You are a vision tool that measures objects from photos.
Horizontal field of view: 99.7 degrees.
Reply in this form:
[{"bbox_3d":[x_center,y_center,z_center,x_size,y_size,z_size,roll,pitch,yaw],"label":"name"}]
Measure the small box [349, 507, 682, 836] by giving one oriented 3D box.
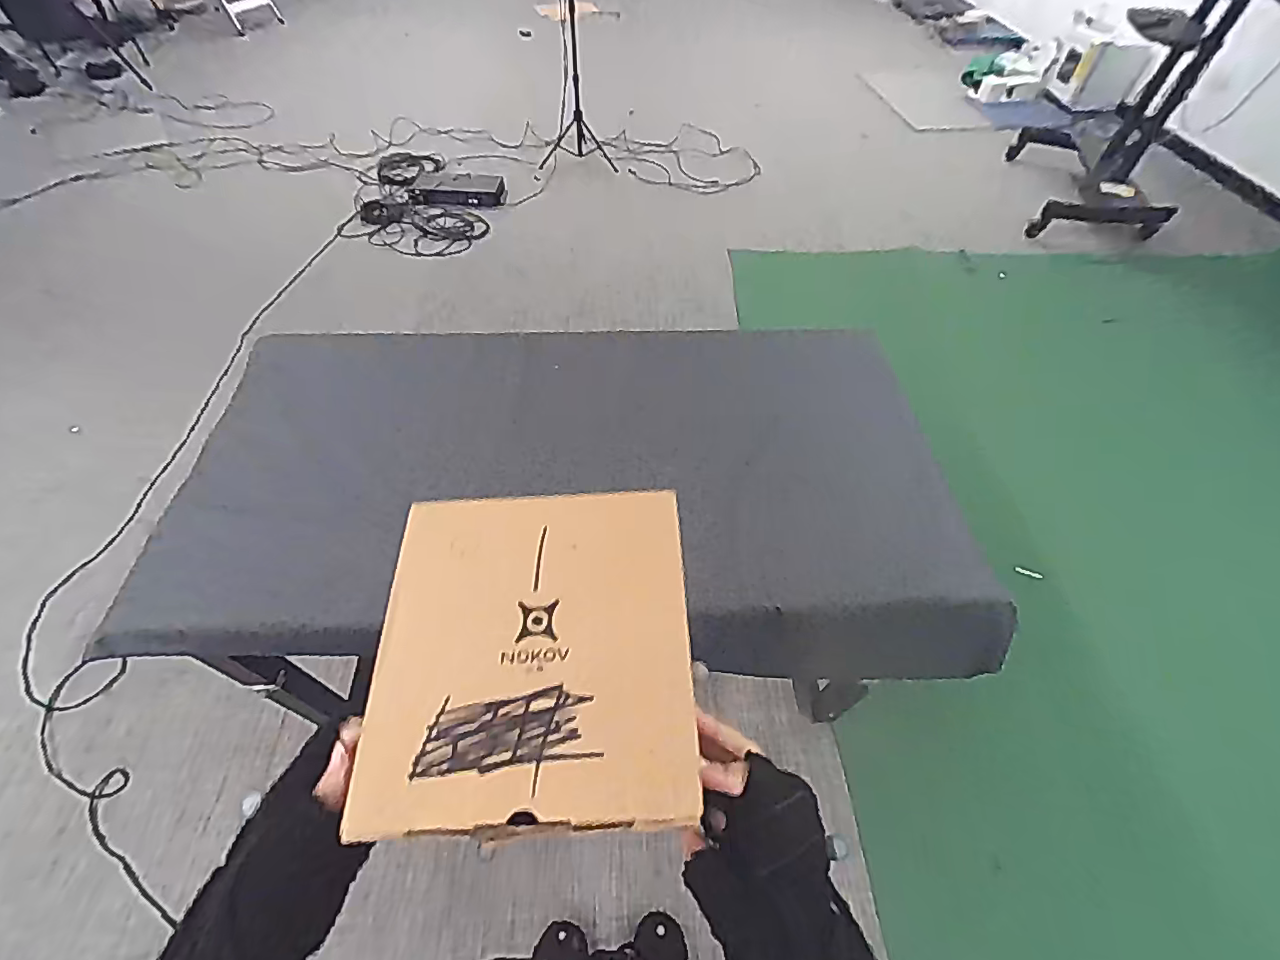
[{"bbox_3d":[-0.057,0.136,0.368,0.168,0.176,0.179,-2,56,1],"label":"small box"}]
